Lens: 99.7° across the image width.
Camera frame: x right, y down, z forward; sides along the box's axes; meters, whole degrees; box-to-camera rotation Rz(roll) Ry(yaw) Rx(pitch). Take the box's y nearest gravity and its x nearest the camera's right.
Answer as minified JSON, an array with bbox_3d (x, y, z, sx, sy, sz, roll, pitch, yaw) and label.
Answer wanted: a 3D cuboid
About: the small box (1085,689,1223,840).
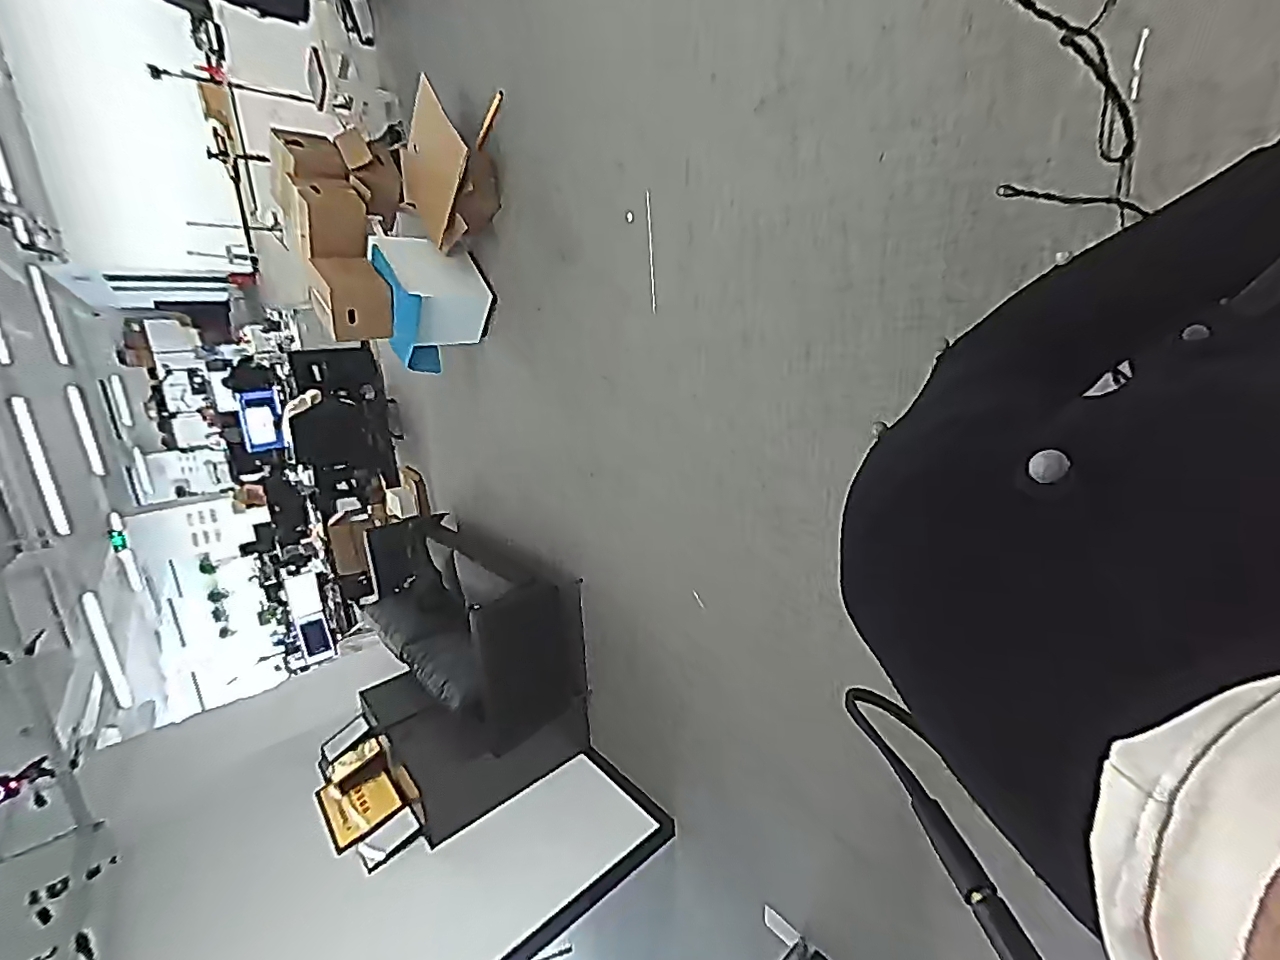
[{"bbox_3d":[1.036,0.558,1.090,0.168,0.176,0.179,15,113,50],"label":"small box"}]
